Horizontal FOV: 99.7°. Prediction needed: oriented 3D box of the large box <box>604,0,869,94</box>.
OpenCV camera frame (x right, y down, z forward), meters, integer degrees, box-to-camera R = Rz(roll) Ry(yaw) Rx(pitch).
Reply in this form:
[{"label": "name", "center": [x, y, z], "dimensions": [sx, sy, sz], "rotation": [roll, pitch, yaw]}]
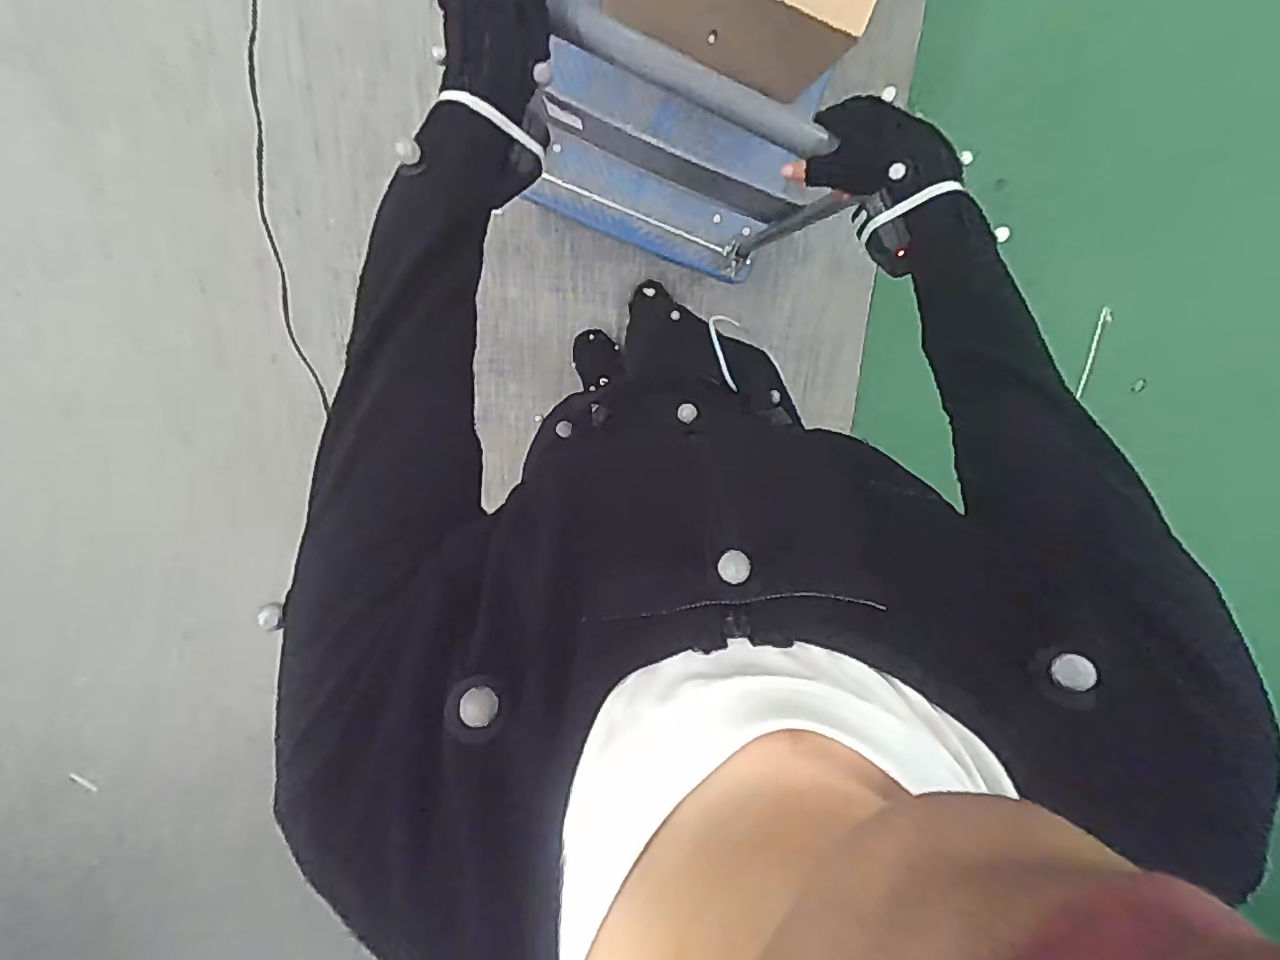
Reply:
[{"label": "large box", "center": [0.174, -0.905, 0.870], "dimensions": [0.408, 0.320, 0.320], "rotation": [16, 108, -9]}]
